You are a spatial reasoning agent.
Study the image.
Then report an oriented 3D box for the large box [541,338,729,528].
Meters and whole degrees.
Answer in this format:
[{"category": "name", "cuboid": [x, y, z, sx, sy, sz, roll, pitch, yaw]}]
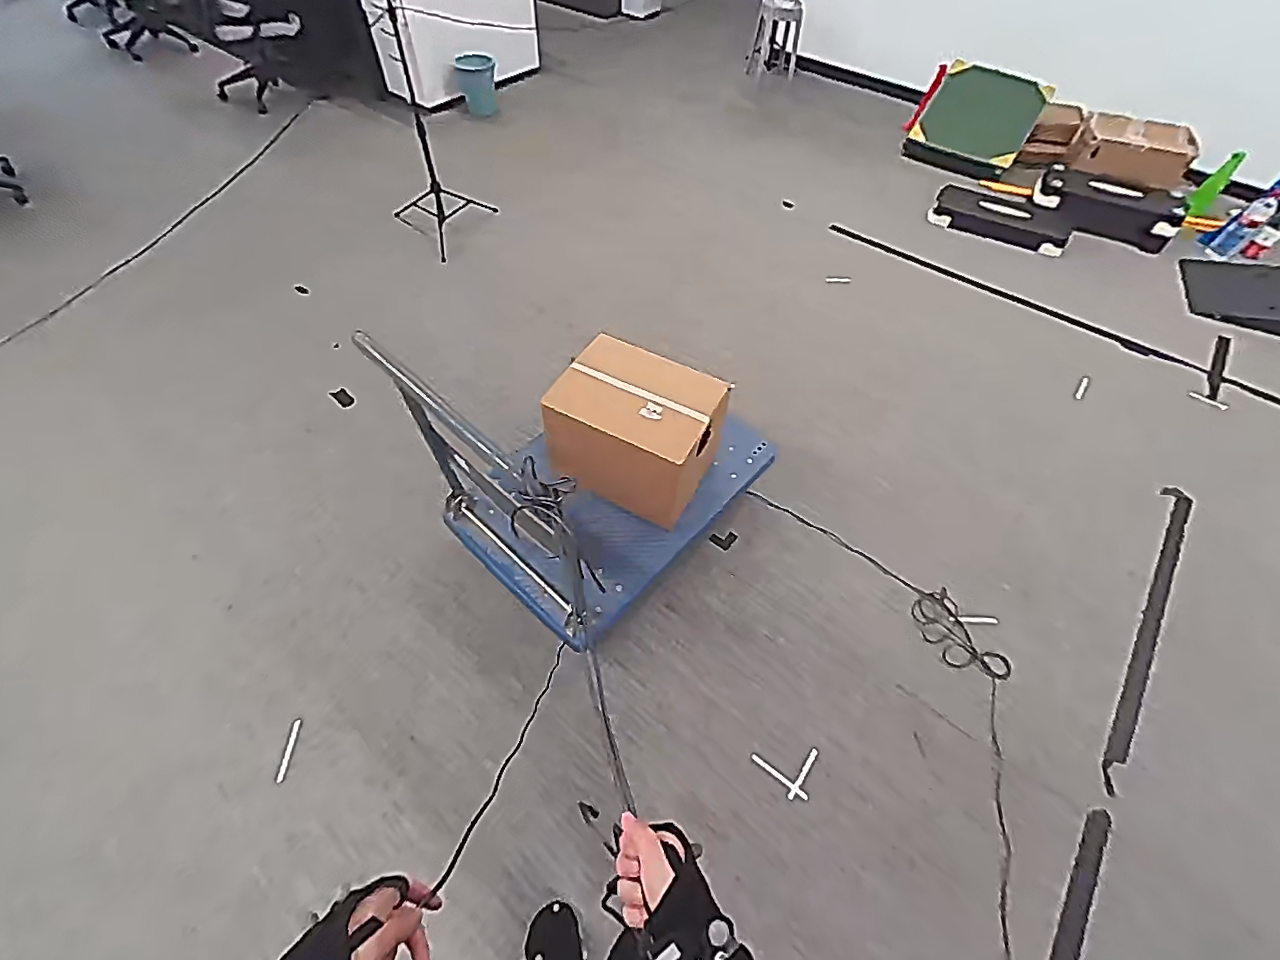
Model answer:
[{"category": "large box", "cuboid": [-0.017, -0.132, 1.515, 0.408, 0.320, 0.320, 25, 58, 14]}]
